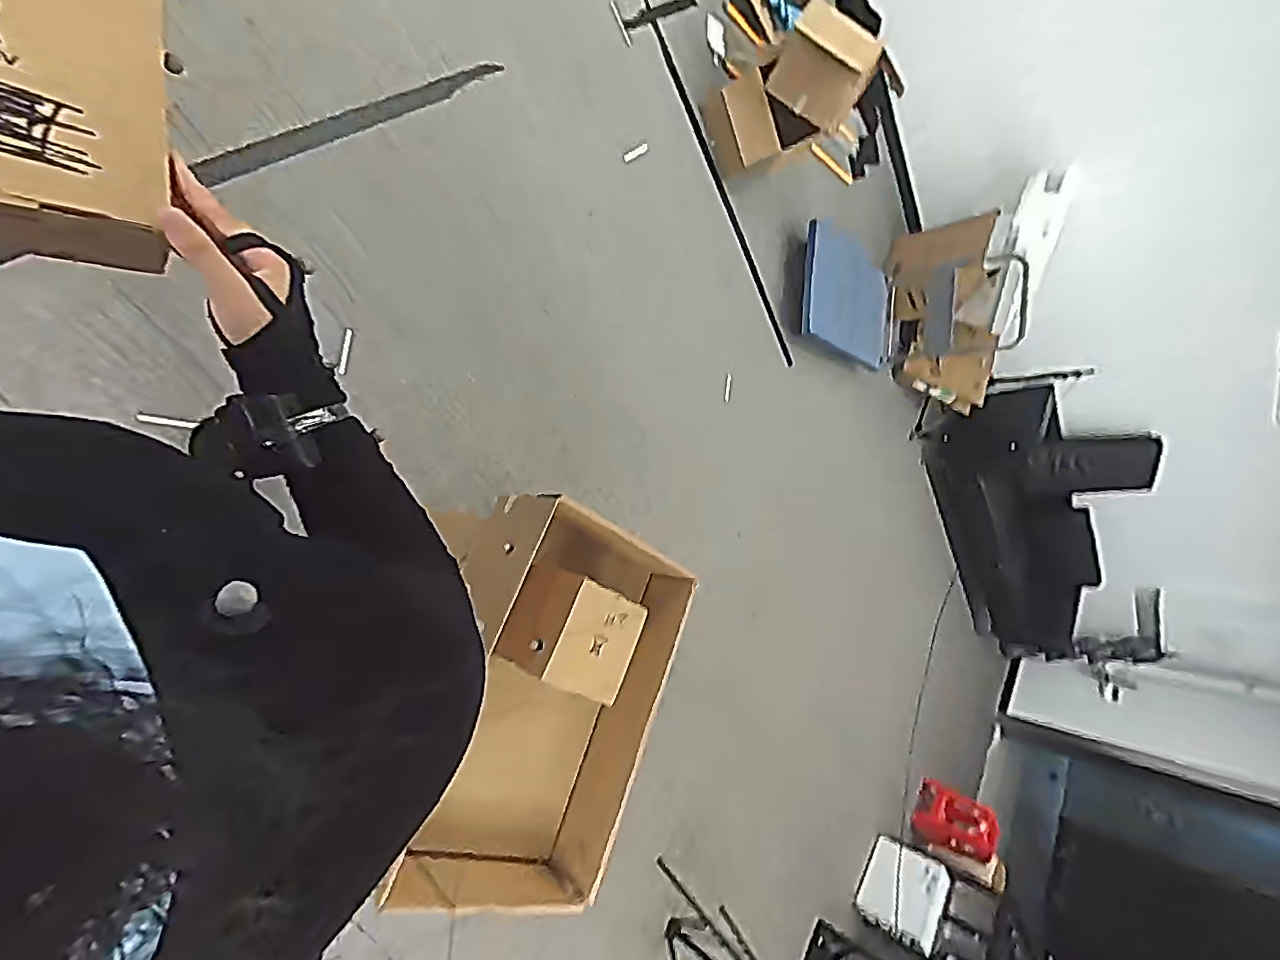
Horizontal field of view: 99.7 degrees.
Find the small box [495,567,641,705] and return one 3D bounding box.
[{"bbox_3d":[-0.134,0.273,0.972,0.168,0.176,0.179,37,66,-36],"label":"small box"}]
